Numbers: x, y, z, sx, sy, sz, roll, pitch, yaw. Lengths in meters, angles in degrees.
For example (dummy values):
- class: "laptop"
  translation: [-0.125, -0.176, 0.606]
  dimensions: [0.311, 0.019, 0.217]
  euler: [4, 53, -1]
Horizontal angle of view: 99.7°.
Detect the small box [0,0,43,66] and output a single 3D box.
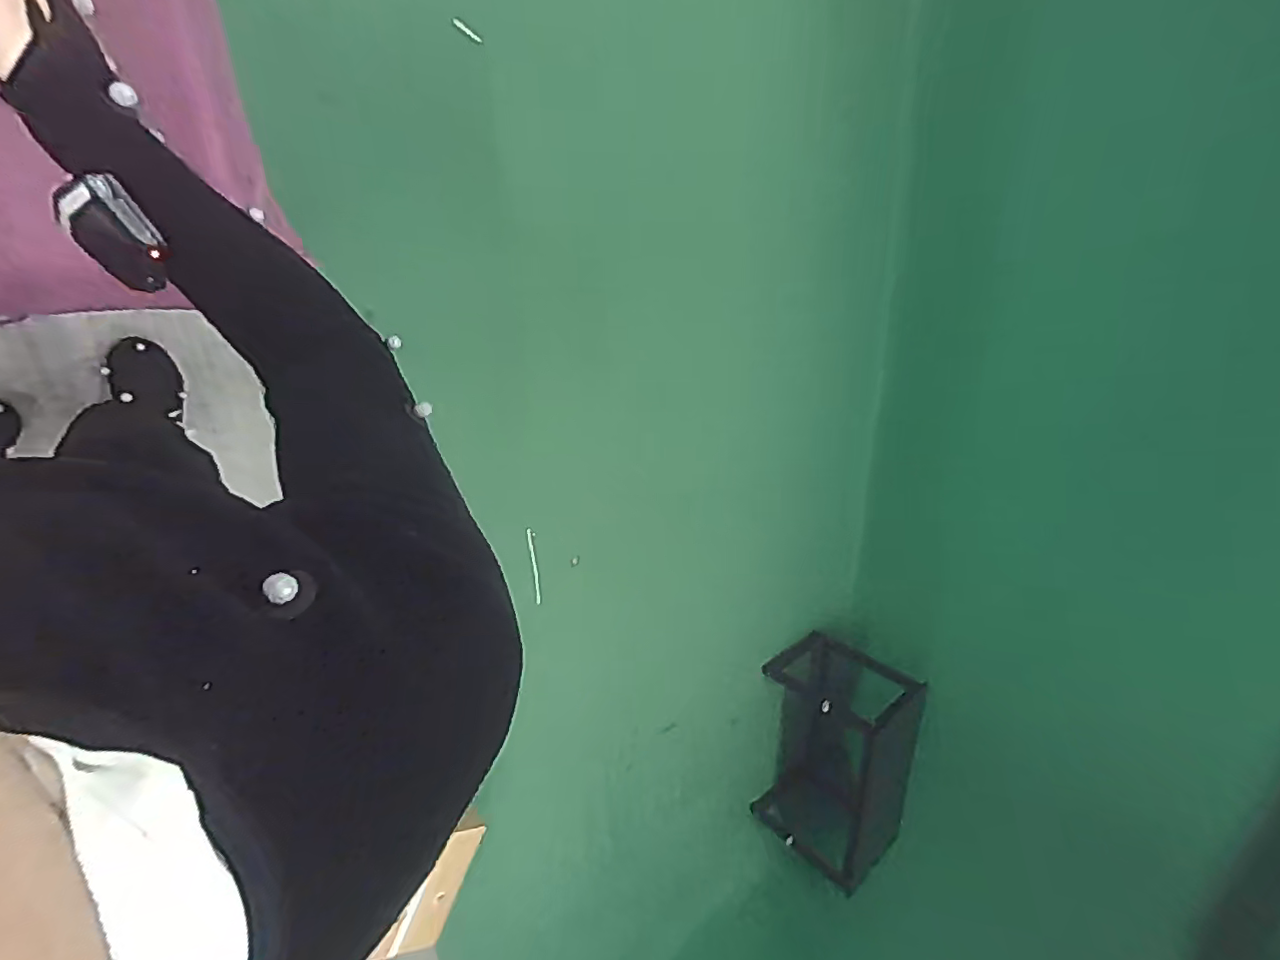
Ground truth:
- class: "small box"
  translation: [-0.579, -0.436, 0.378]
  dimensions: [0.168, 0.176, 0.179]
  euler: [-16, 112, -34]
